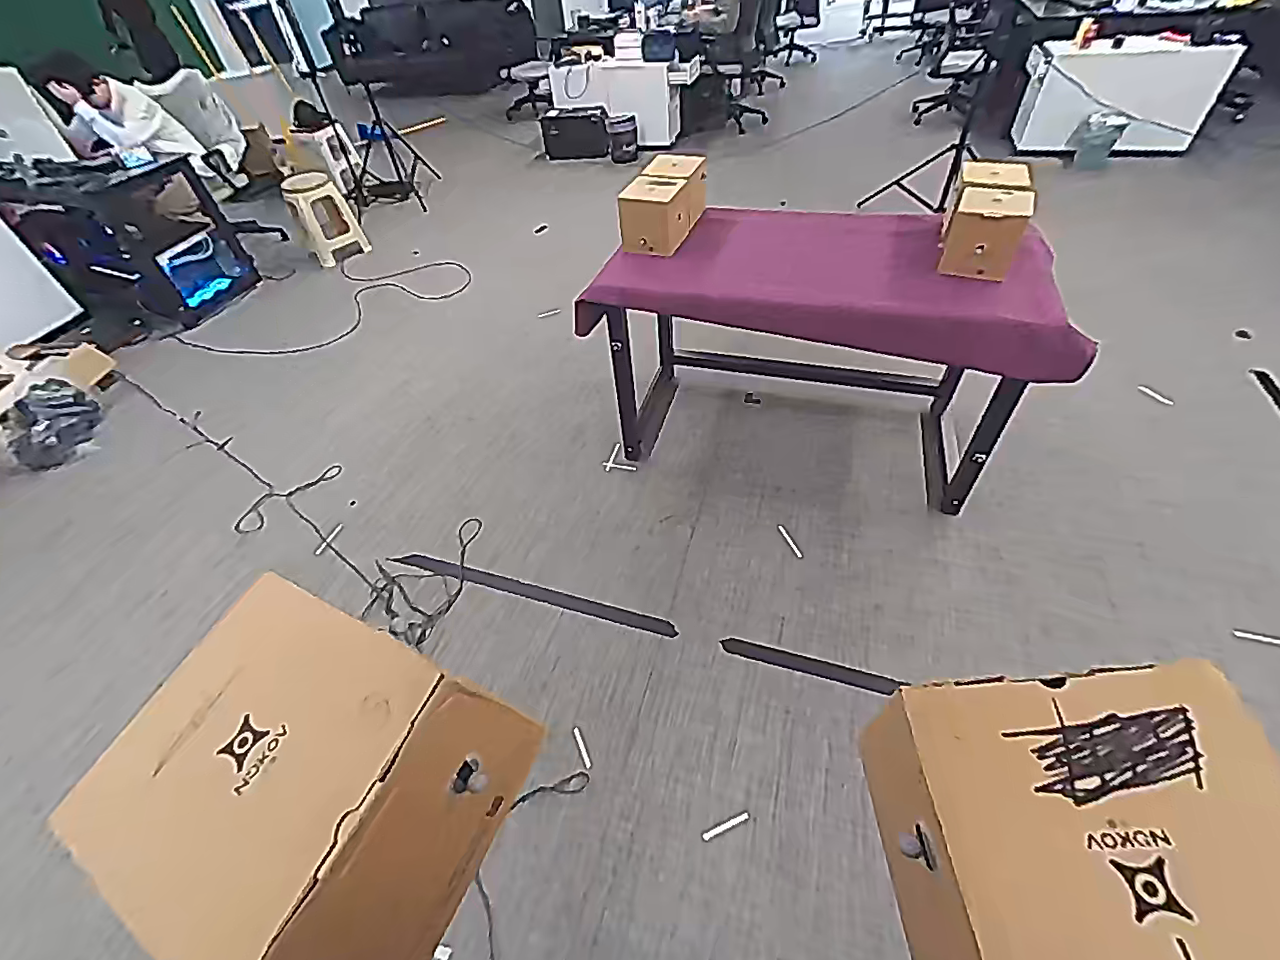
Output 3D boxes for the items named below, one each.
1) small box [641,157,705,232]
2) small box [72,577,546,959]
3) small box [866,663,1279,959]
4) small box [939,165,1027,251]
[{"bbox_3d":[0.111,-0.952,1.800,0.168,0.176,0.179,14,51,18],"label":"small box"},{"bbox_3d":[-0.192,0.196,0.367,0.179,0.176,0.168,16,60,25],"label":"small box"},{"bbox_3d":[0.249,0.225,0.320,0.168,0.176,0.179,-8,55,7],"label":"small box"},{"bbox_3d":[0.983,-0.787,1.562,0.168,0.176,0.179,14,49,17],"label":"small box"}]
